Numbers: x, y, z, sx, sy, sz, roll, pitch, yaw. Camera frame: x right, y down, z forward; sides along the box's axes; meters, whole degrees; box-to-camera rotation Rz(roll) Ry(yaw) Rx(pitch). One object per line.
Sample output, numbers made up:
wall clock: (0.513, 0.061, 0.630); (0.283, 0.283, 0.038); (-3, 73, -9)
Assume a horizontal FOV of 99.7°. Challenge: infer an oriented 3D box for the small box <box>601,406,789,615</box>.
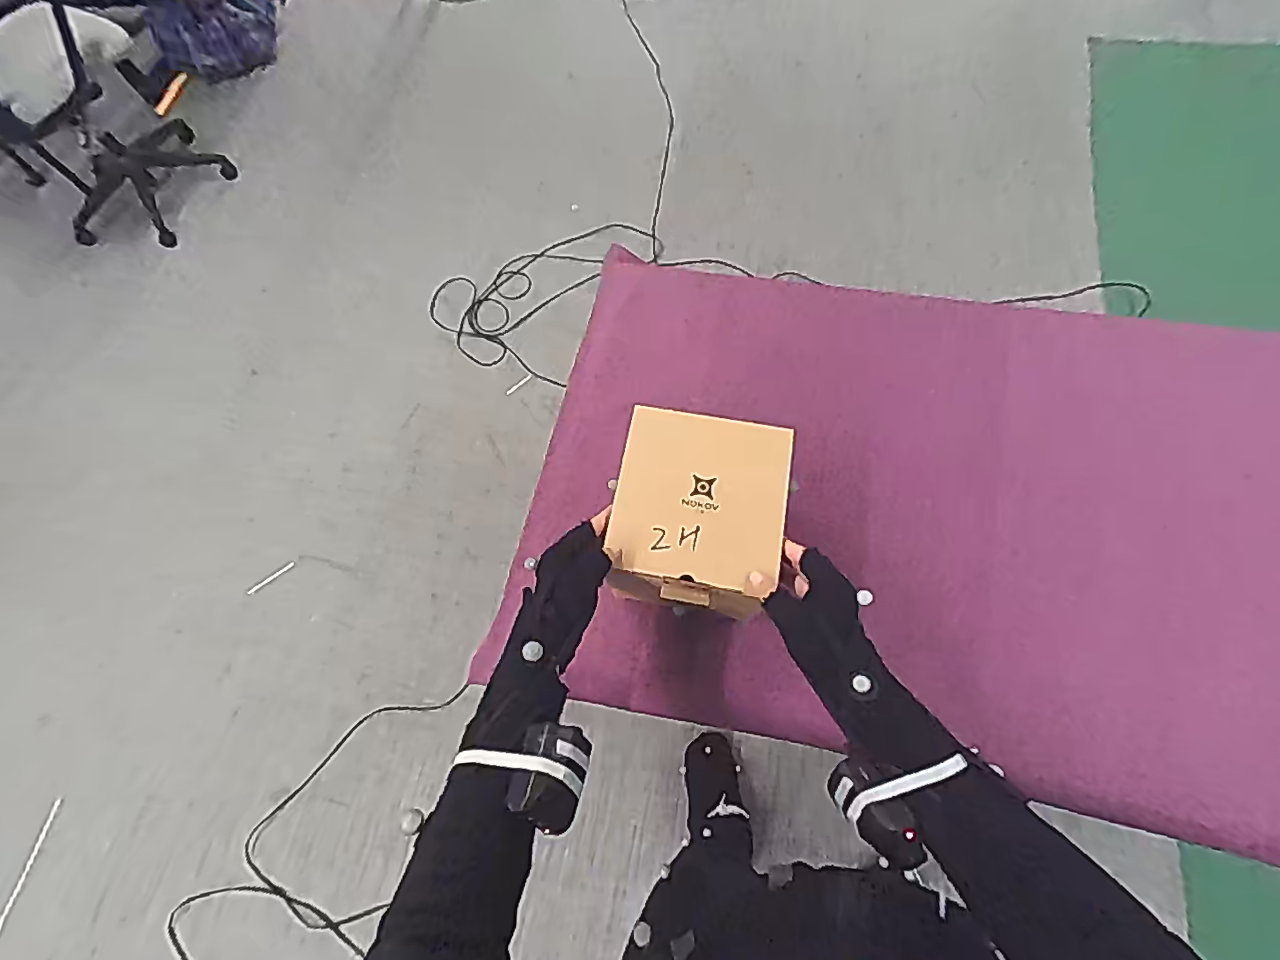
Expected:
small box: (0.060, 0.042, 0.606); (0.168, 0.176, 0.179); (9, 70, 6)
